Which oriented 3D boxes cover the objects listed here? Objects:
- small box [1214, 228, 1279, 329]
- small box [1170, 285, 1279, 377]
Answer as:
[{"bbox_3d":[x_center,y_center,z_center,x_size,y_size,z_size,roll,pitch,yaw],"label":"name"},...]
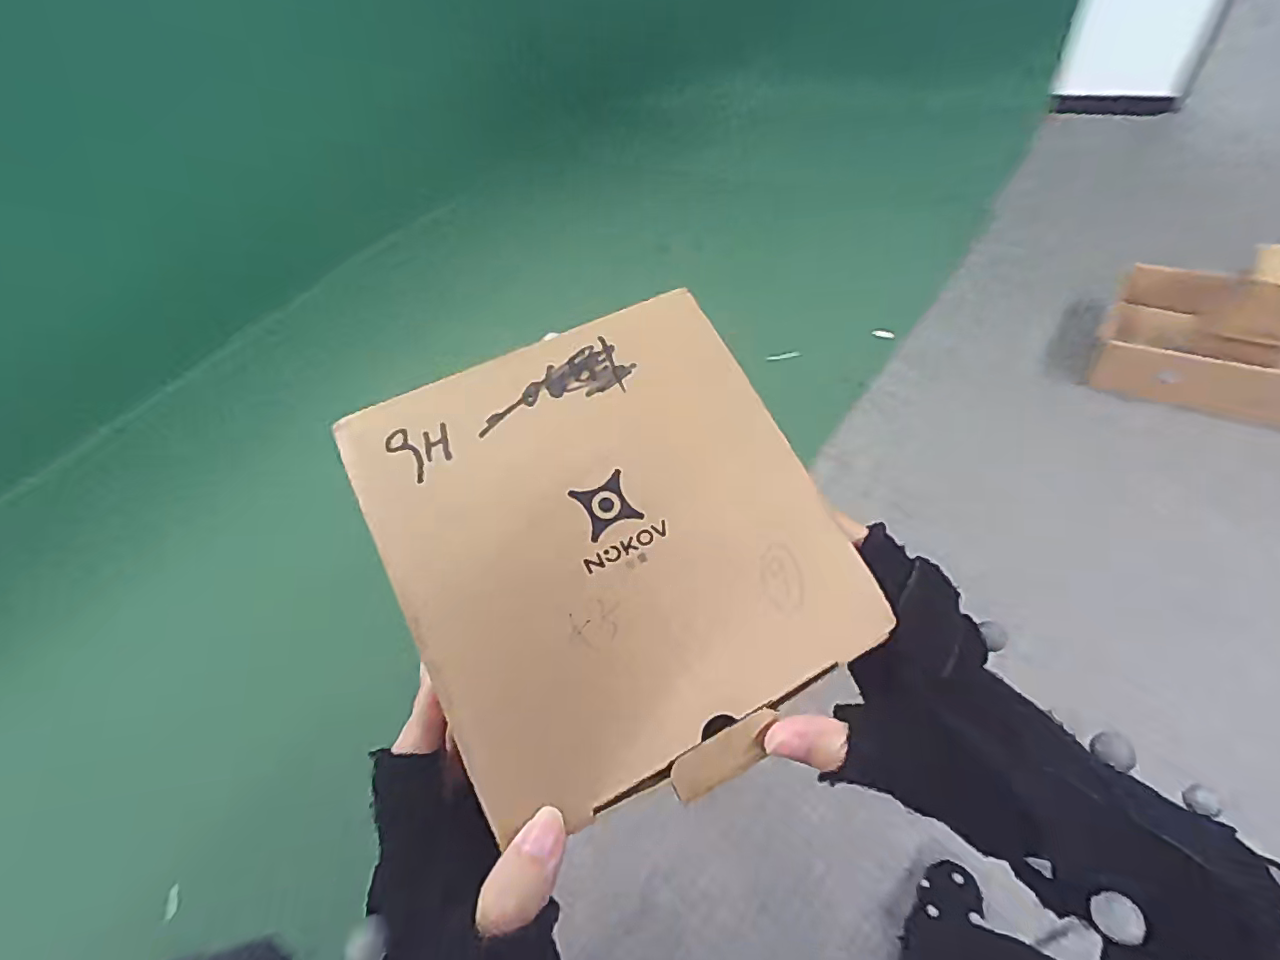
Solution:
[{"bbox_3d":[1.610,-0.506,1.366,0.168,0.176,0.179,20,62,27],"label":"small box"},{"bbox_3d":[1.651,-0.412,1.512,0.179,0.176,0.168,24,62,31],"label":"small box"}]
